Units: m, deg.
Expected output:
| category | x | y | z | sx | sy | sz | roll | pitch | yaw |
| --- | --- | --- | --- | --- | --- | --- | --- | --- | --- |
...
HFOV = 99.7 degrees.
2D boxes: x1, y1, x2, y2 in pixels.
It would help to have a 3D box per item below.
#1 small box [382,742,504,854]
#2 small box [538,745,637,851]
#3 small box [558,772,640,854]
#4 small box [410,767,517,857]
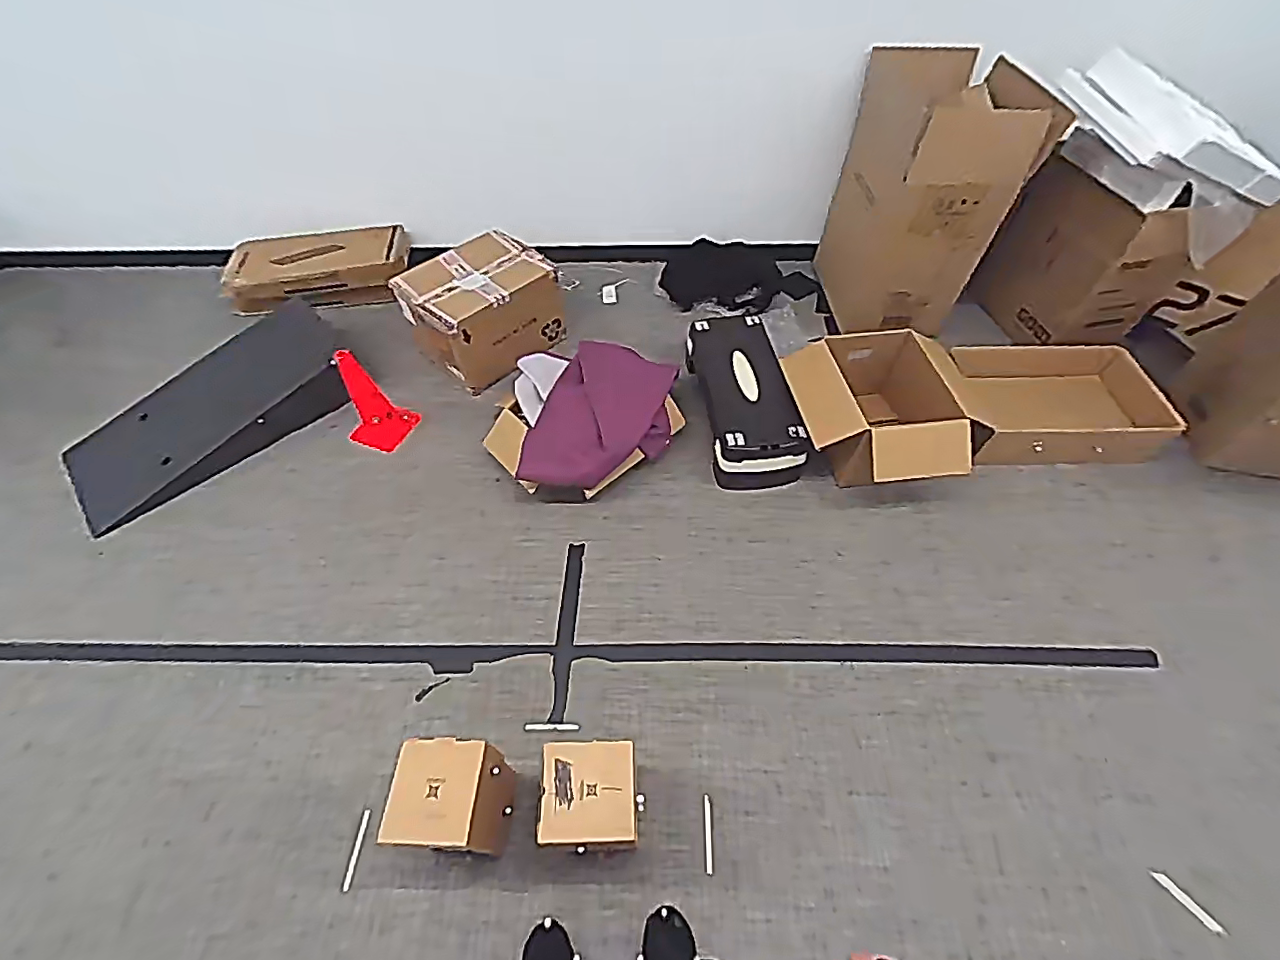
| category | x | y | z | sx | sy | sz | roll | pitch | yaw |
| --- | --- | --- | --- | --- | --- | --- | --- | --- | --- |
| small box | -0.380 | 0.637 | 1.082 | 0.168 | 0.176 | 0.179 | 0 | 54 | 3 |
| small box | -0.095 | 0.635 | 1.076 | 0.179 | 0.176 | 0.168 | -1 | 53 | 0 |
| small box | -0.086 | 0.731 | 1.211 | 0.168 | 0.176 | 0.179 | -2 | 54 | 0 |
| small box | -0.384 | 0.738 | 1.209 | 0.179 | 0.176 | 0.168 | 2 | 53 | 3 |
